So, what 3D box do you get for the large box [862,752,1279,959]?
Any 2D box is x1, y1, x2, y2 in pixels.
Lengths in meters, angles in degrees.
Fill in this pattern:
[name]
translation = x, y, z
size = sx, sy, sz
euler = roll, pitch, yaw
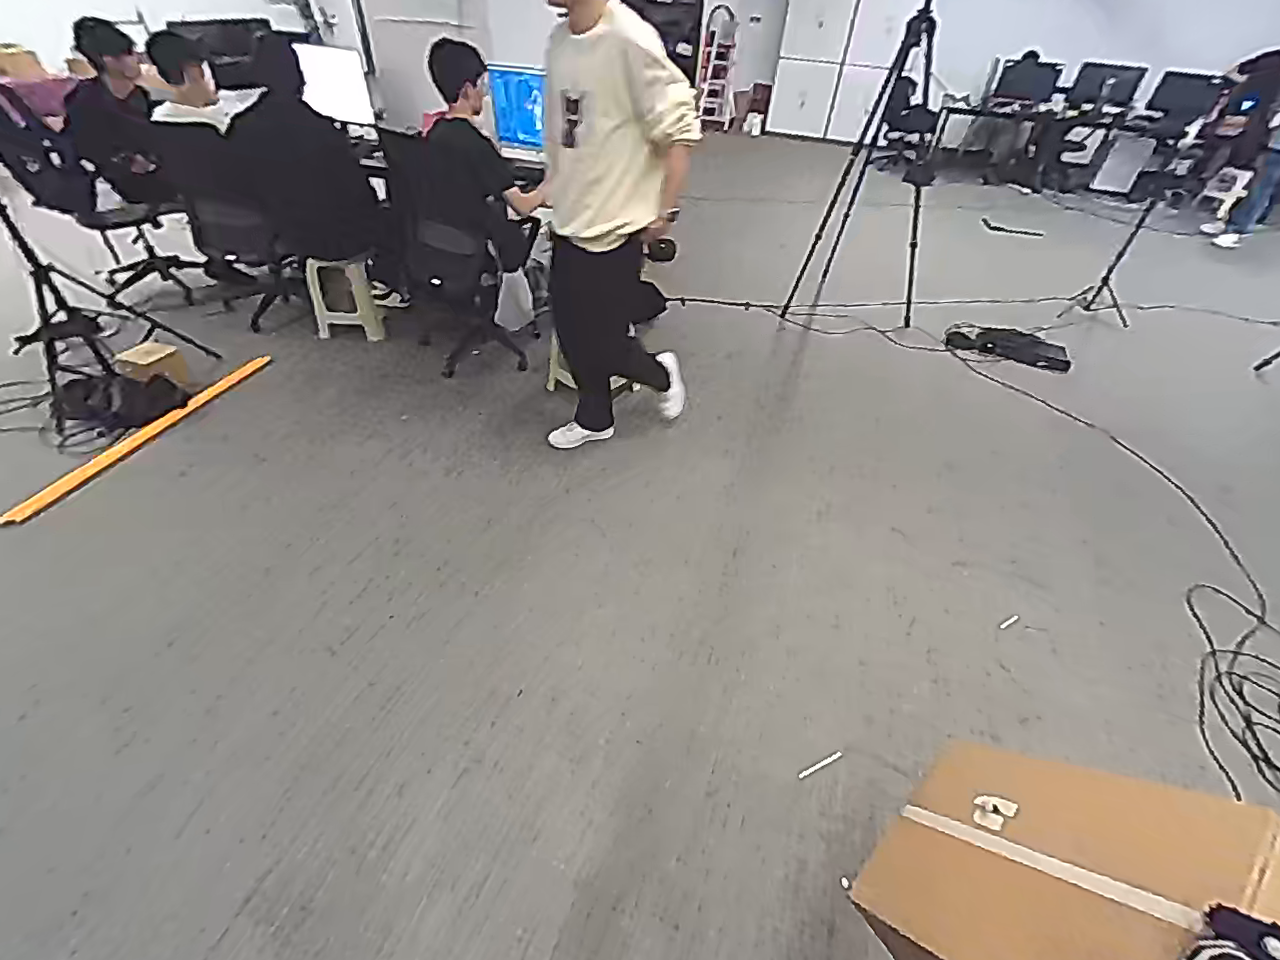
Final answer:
[large box]
translation = 0.586, 0.604, 0.669
size = 0.320, 0.408, 0.320
euler = -34, 87, -24
